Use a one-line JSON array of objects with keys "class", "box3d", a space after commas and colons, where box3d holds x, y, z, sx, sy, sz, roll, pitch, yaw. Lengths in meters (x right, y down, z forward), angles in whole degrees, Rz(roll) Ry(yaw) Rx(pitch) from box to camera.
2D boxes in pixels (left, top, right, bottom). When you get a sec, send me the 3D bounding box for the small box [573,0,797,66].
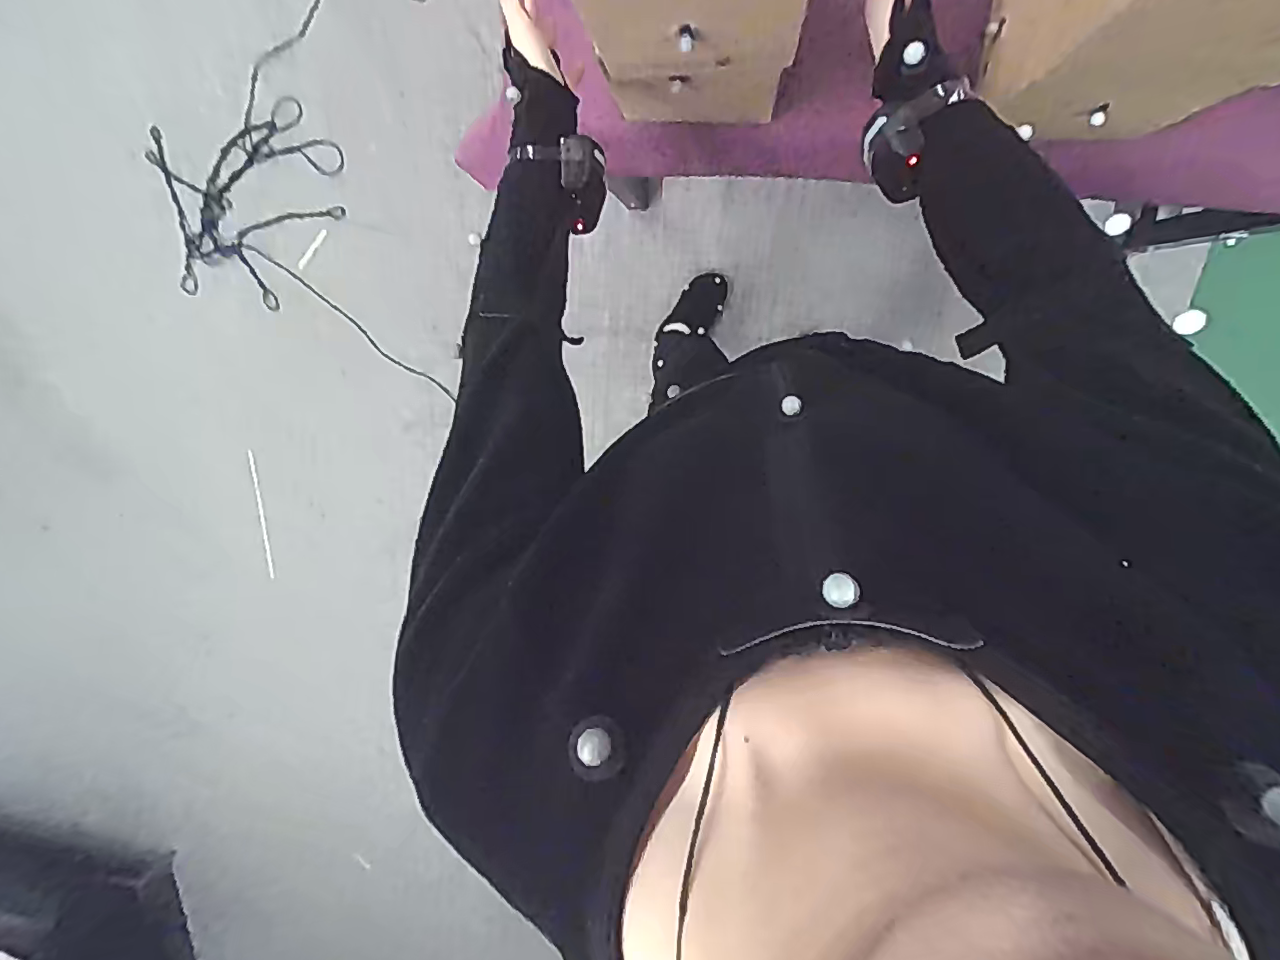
[{"class": "small box", "box3d": [0.036, -0.431, 0.389, 0.168, 0.176, 0.179, 2, 106, 9]}]
